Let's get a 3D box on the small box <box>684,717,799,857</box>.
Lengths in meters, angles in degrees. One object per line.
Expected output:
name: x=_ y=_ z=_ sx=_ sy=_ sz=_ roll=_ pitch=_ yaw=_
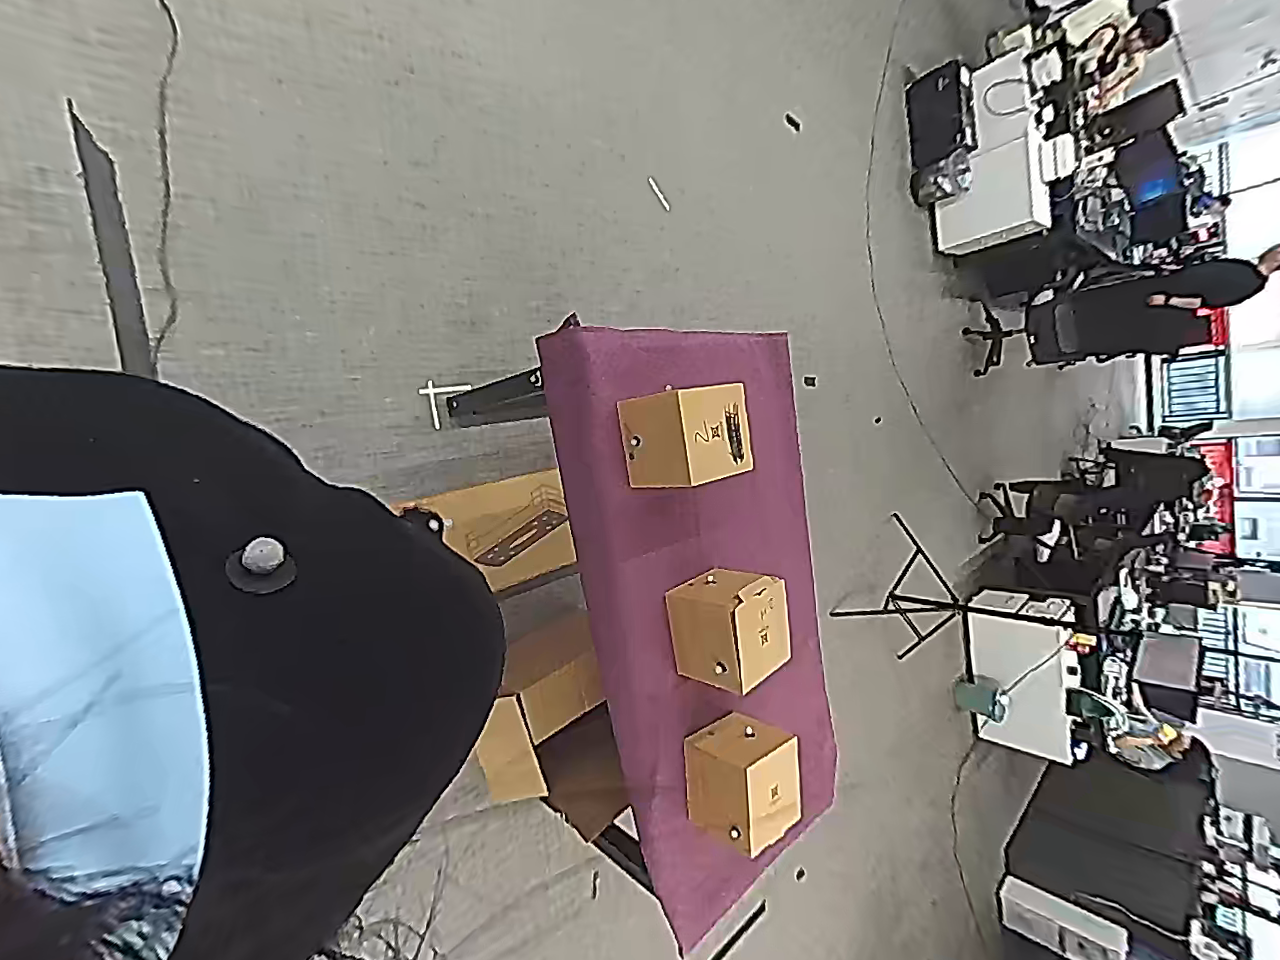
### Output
small box: x=0.205 y=0.611 z=1.111 sx=0.168 sy=0.176 sz=0.179 roll=-6 pitch=94 yaw=-41

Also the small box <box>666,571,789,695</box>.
small box: x=0.174 y=0.295 z=1.087 sx=0.168 sy=0.176 sz=0.179 roll=-16 pitch=100 yaw=-42
